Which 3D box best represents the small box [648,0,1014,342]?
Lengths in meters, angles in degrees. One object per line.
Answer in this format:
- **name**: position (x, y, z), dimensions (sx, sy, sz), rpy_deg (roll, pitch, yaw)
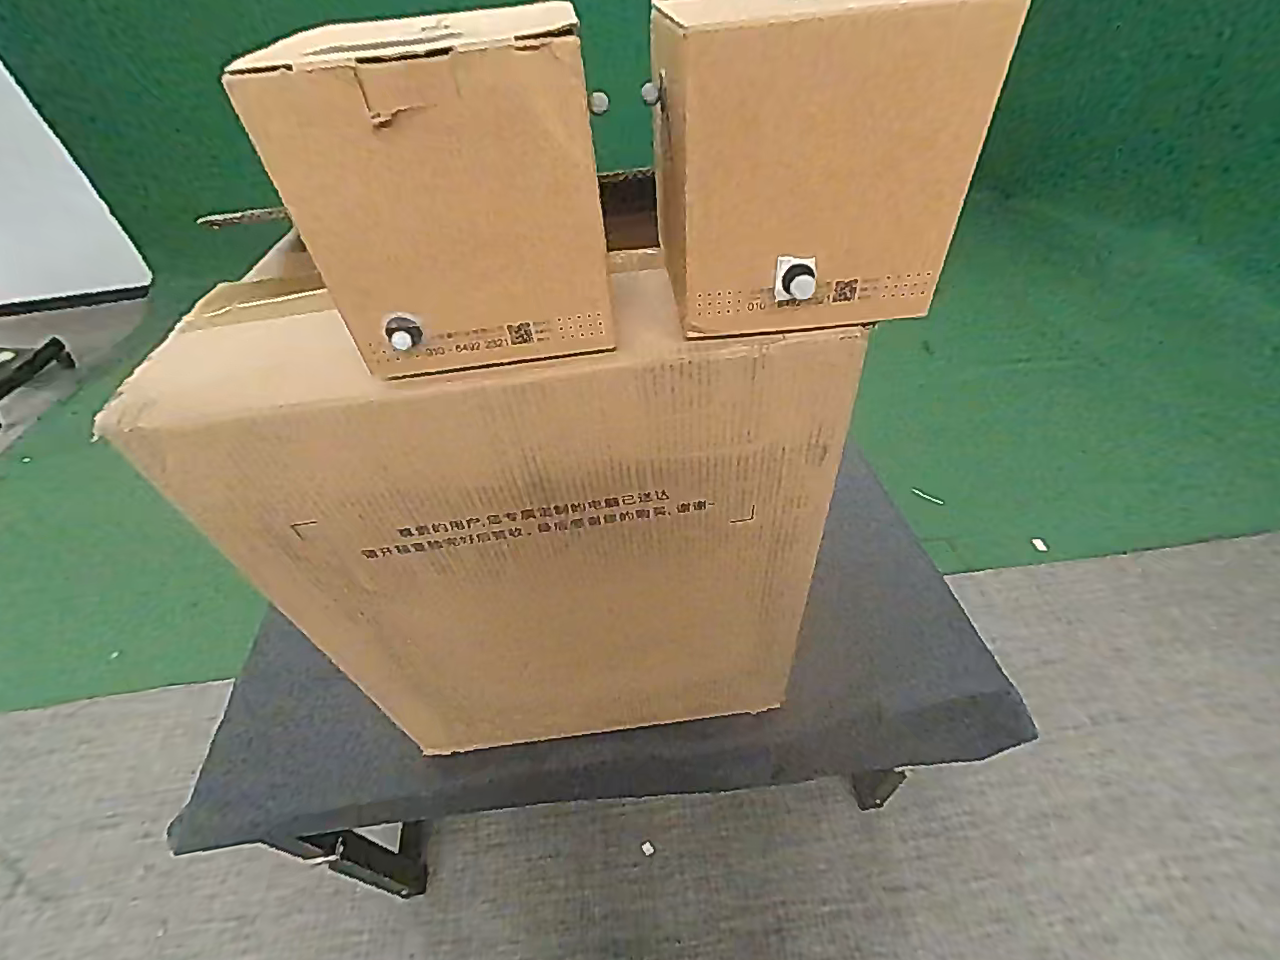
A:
- **small box**: position (0.098, -0.218, 0.375), dimensions (0.168, 0.176, 0.179), rpy_deg (-8, 46, -1)
